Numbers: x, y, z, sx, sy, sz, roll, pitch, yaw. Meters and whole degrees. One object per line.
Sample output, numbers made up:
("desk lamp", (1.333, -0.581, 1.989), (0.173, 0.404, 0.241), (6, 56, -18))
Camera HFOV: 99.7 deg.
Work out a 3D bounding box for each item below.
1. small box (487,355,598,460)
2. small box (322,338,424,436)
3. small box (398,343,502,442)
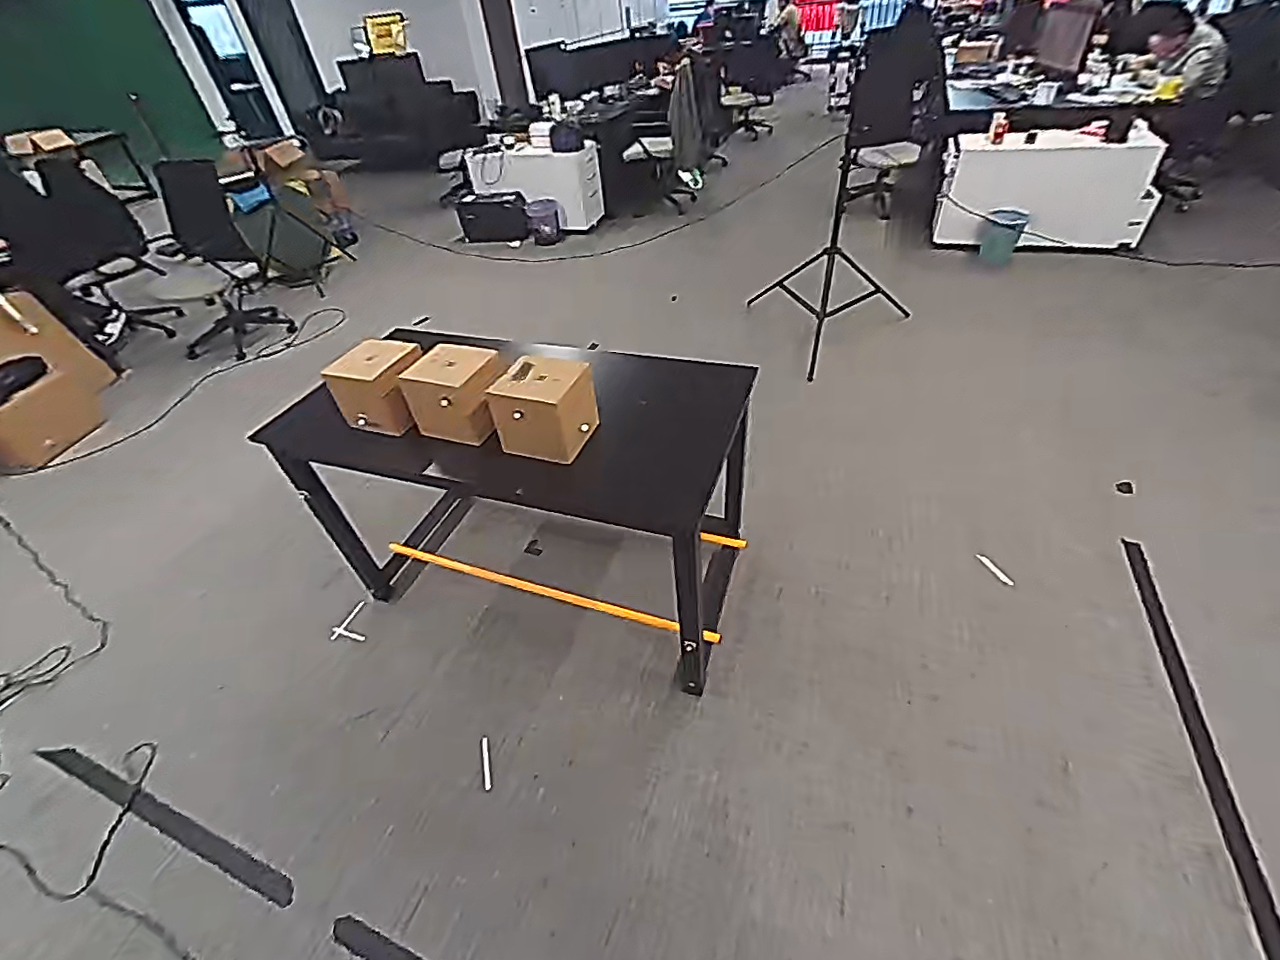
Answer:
("small box", (-0.212, -0.164, 1.228), (0.179, 0.176, 0.168), (11, 45, 18))
("small box", (-0.646, -0.237, 1.368), (0.168, 0.176, 0.179), (9, 45, 19))
("small box", (-0.436, -0.210, 1.308), (0.179, 0.176, 0.168), (11, 45, 19))
